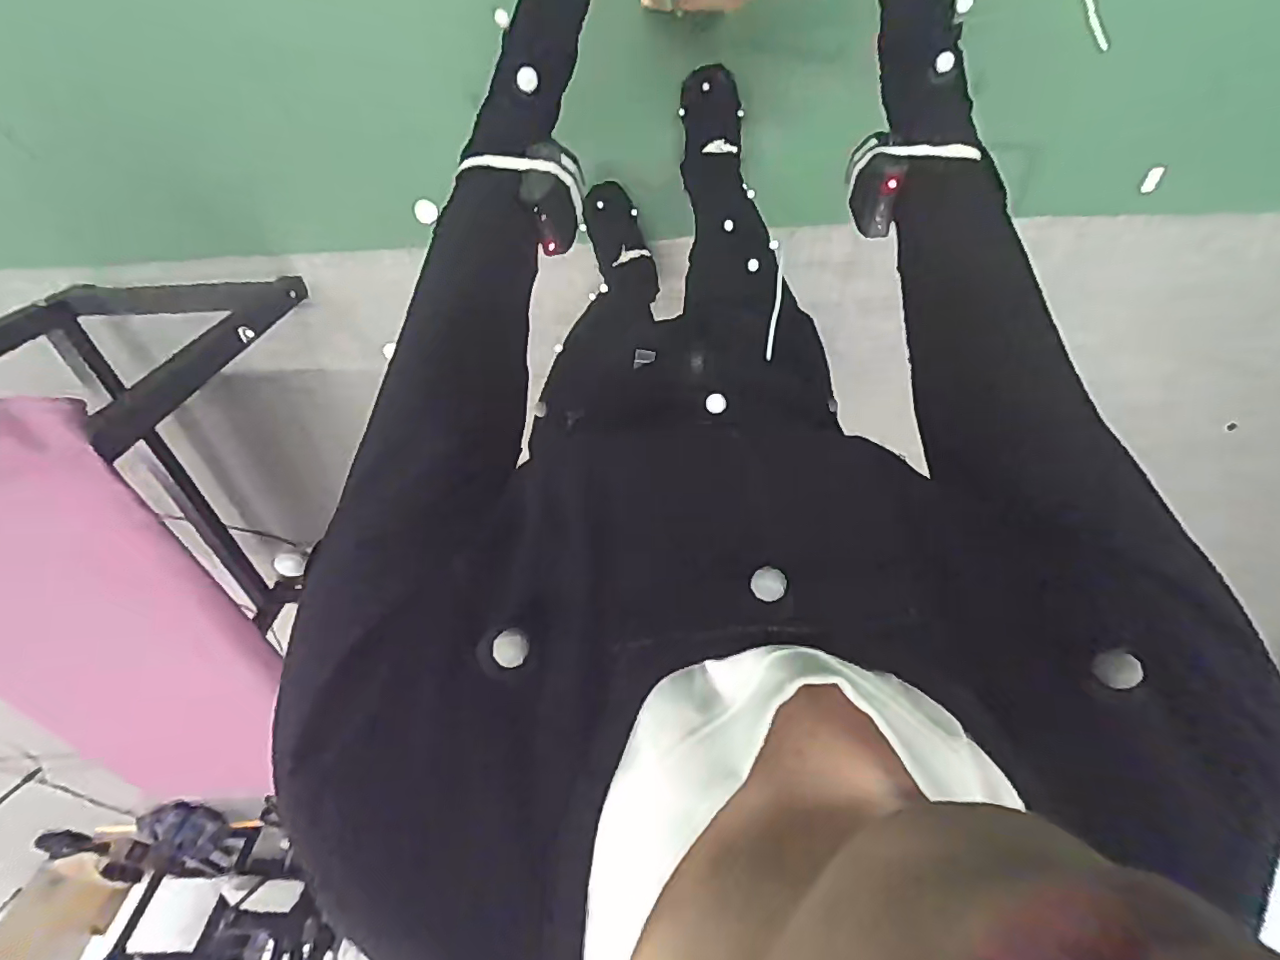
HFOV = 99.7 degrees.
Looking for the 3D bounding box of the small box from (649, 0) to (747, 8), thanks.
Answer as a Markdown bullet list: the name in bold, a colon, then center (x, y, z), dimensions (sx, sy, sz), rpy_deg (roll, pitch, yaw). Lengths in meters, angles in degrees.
- **small box**: center (0.091, -0.886, 0.877), dimensions (0.168, 0.176, 0.179), rpy_deg (0, 131, 0)
